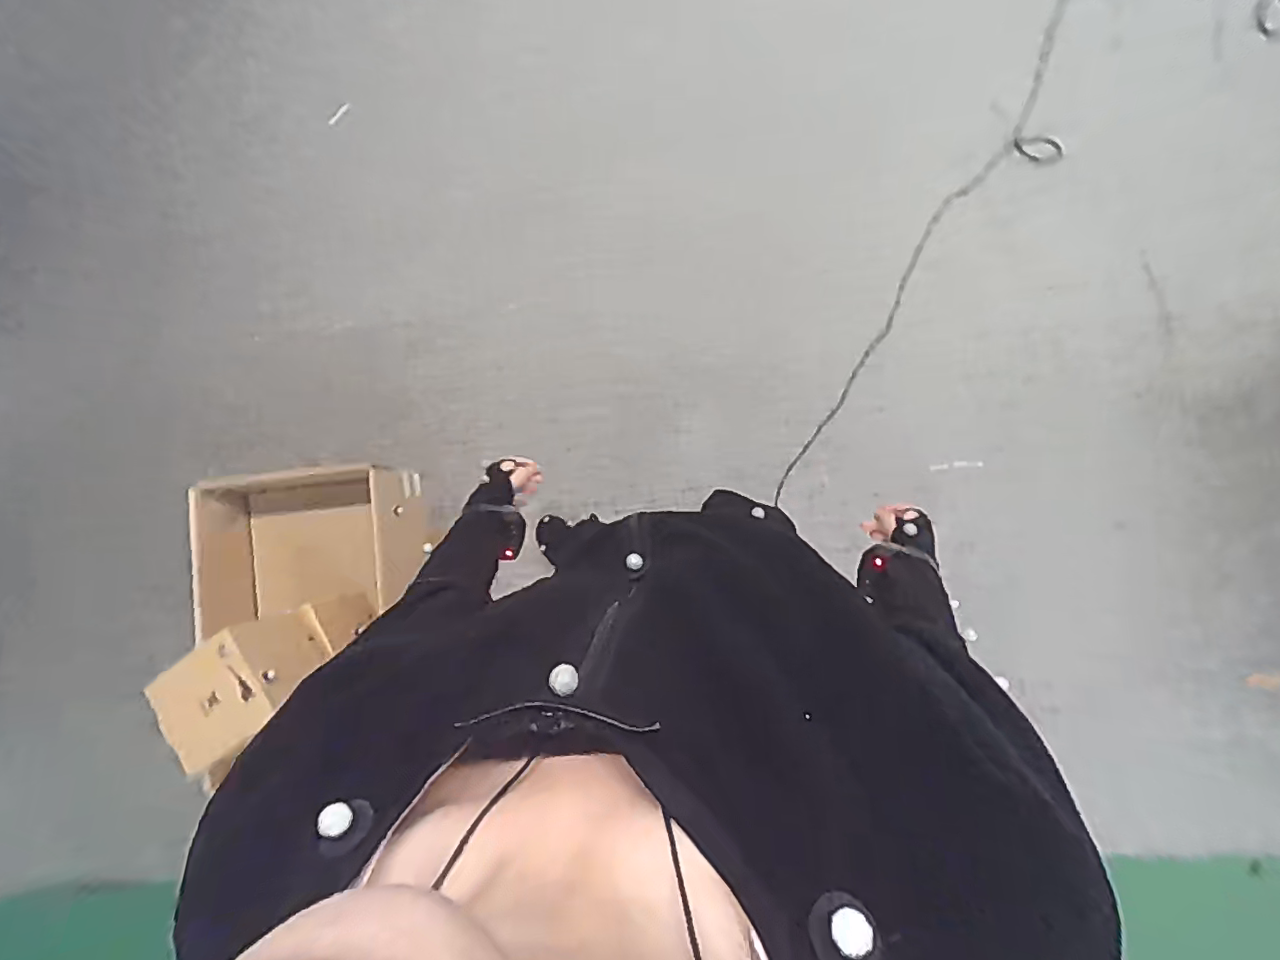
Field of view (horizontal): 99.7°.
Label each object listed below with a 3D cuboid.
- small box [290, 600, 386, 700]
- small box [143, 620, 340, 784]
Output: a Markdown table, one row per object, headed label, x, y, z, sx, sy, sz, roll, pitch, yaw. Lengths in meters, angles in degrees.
| label | x | y | z | sx | sy | sz | roll | pitch | yaw |
| --- | --- | --- | --- | --- | --- | --- | --- | --- | --- |
| small box | -0.641 | 0.358 | 1.080 | 0.179 | 0.176 | 0.168 | -30 | 83 | 4 |
| small box | -0.661 | 0.363 | 0.917 | 0.179 | 0.176 | 0.168 | -36 | 83 | 4 |
